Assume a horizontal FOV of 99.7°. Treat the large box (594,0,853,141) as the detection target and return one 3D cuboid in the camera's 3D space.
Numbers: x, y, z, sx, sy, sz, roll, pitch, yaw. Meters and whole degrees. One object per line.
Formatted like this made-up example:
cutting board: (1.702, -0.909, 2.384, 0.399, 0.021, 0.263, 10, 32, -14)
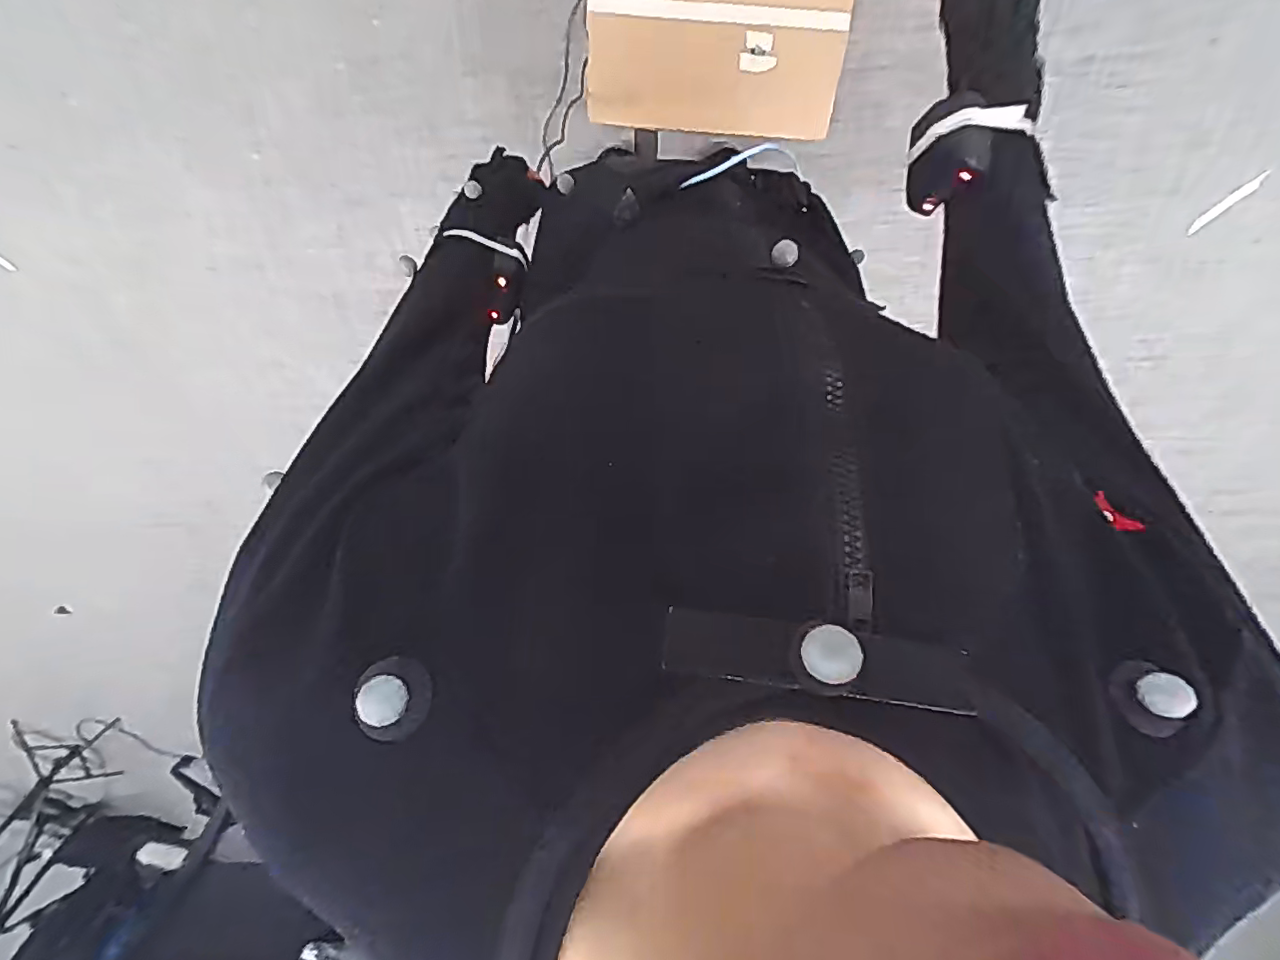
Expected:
large box: (0.127, -0.803, 0.965, 0.408, 0.320, 0.320, 4, 124, -3)
